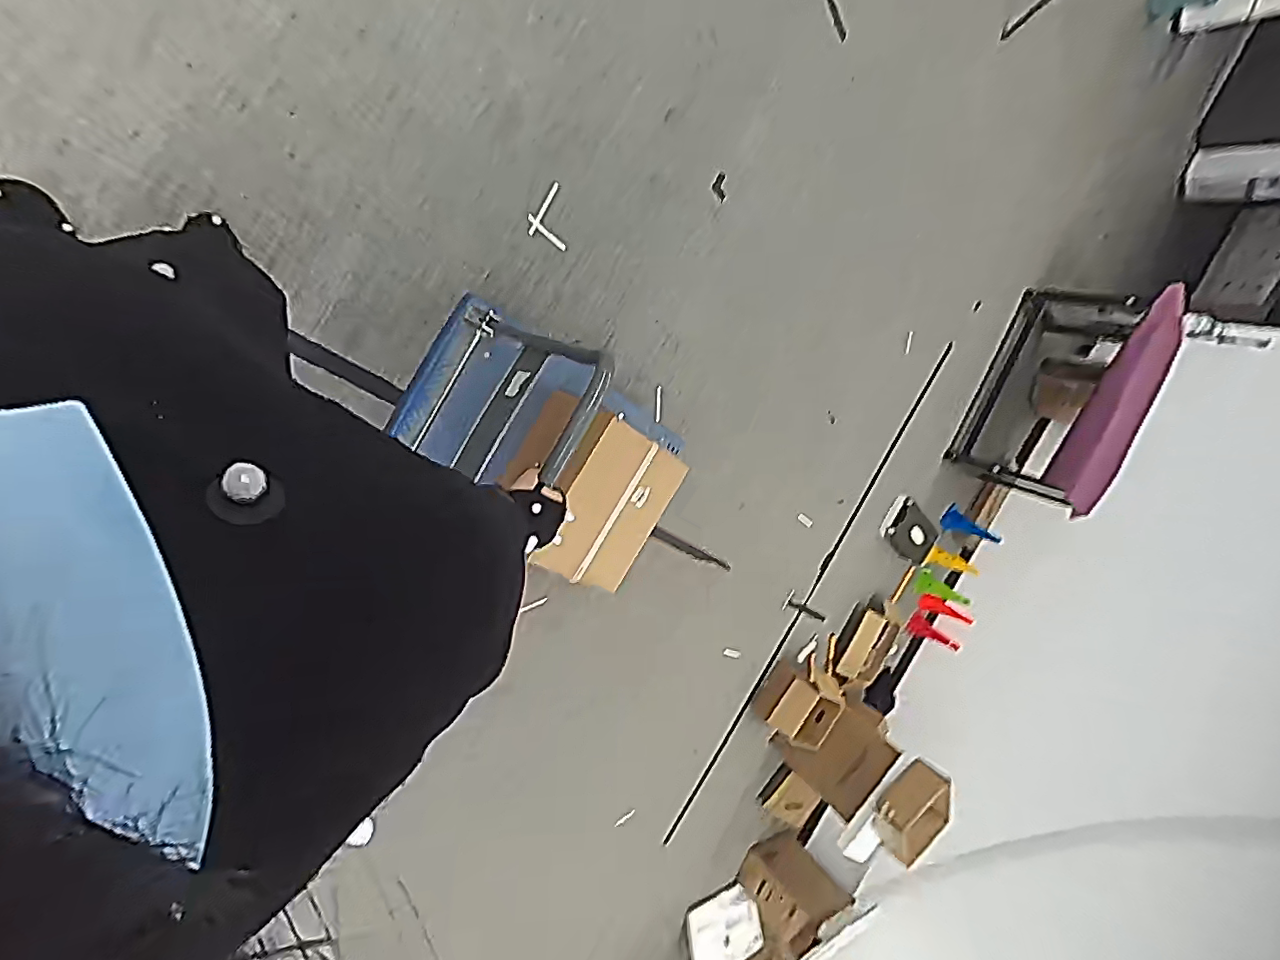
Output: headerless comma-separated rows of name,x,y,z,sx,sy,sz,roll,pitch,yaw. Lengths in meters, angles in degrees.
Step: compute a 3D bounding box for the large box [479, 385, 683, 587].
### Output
large box,-0.163,0.014,1.459,0.320,0.320,0.408,32,88,-44
